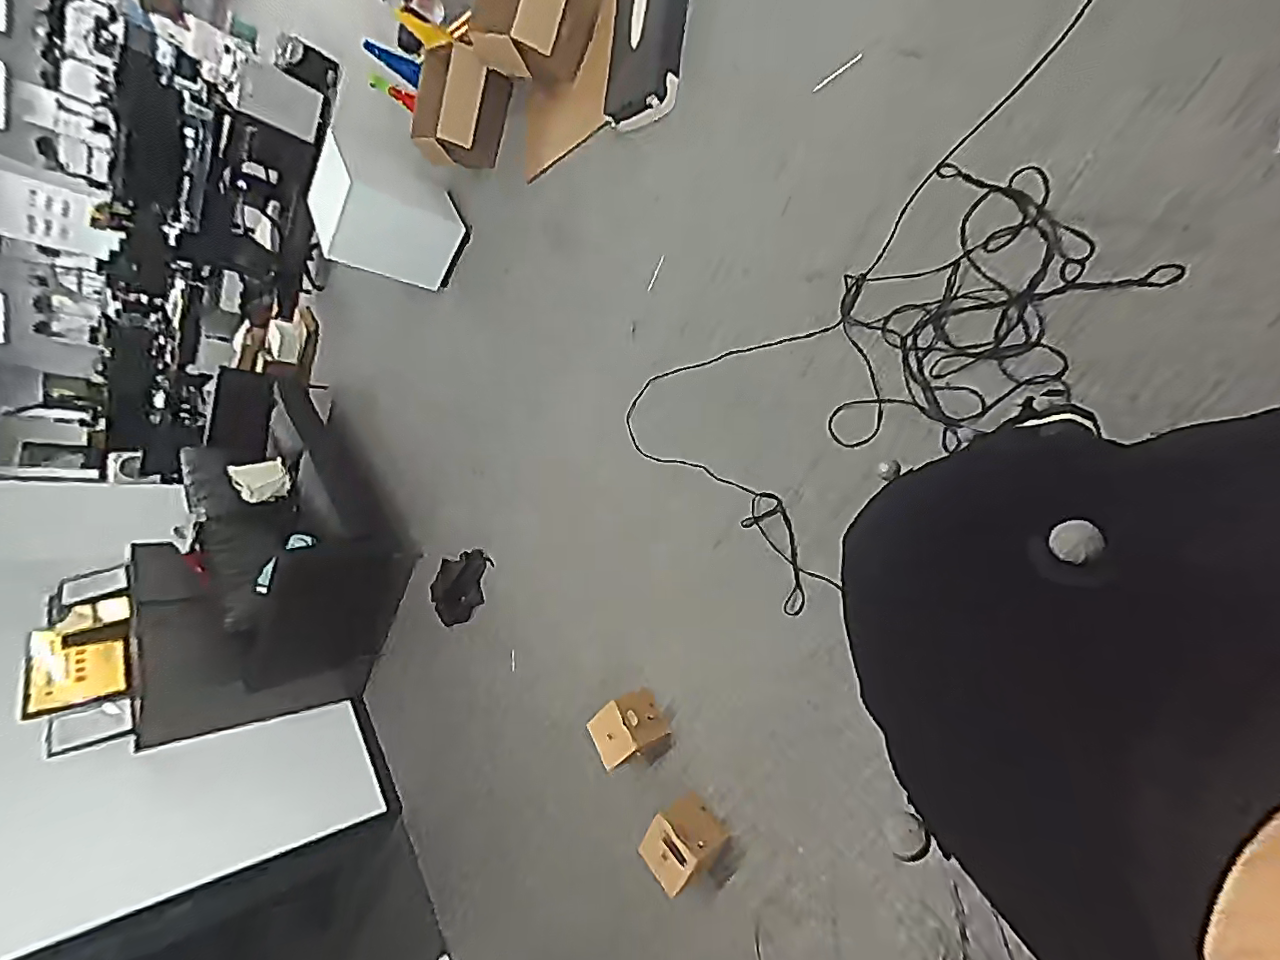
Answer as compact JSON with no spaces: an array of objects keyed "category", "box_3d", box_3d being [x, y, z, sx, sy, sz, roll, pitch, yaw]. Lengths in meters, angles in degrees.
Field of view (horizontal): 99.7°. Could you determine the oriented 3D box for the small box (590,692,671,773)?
[{"category":"small box","box_3d":[-0.030,0.834,1.795,0.179,0.176,0.168,-52,55,28]}]
